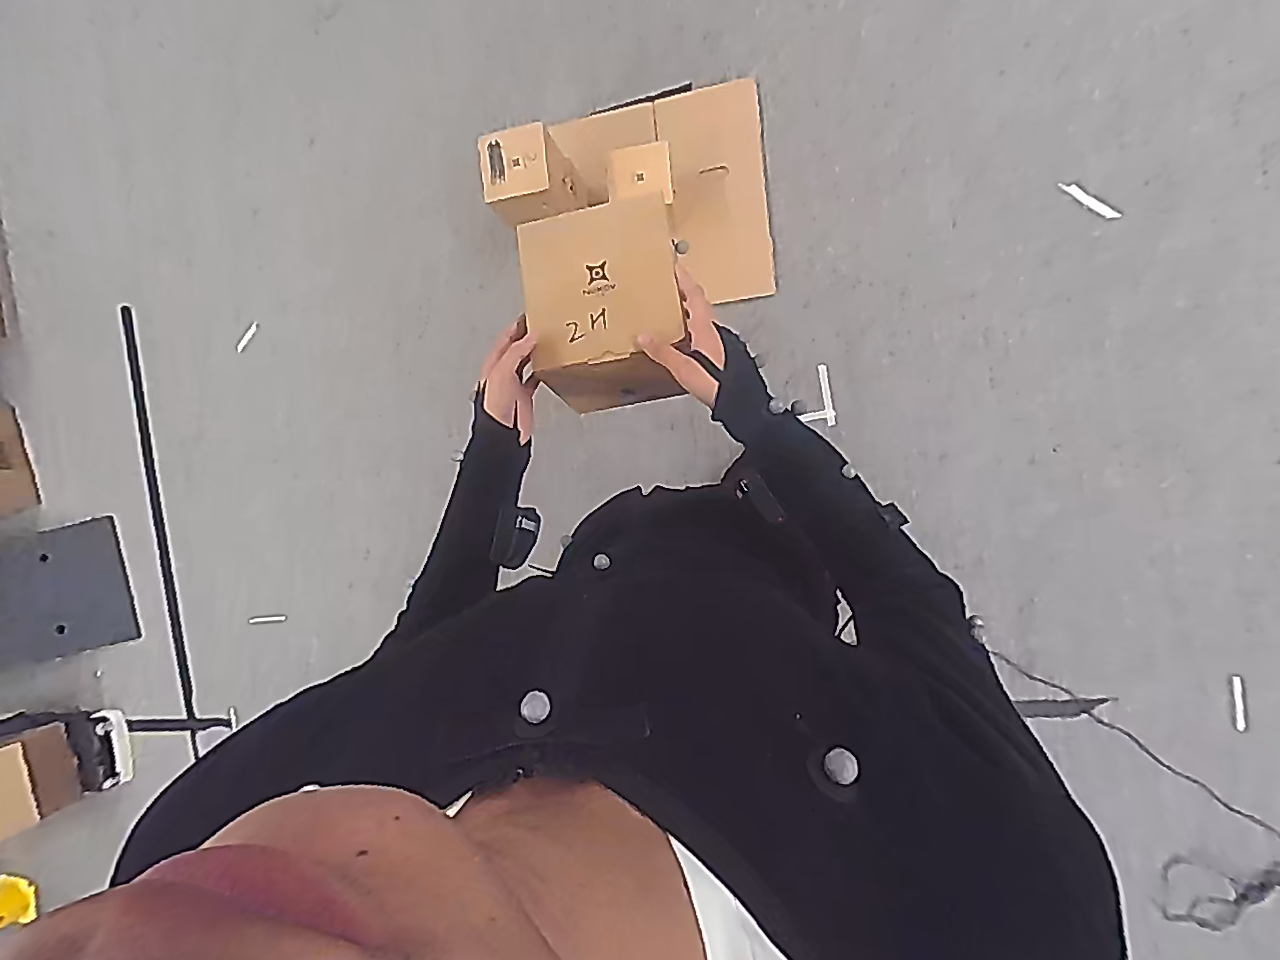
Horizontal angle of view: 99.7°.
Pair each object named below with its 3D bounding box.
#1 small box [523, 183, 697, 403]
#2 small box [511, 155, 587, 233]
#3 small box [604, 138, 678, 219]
[{"bbox_3d":[-0.027,-0.207,0.645,0.168,0.176,0.179,-9,81,9],"label":"small box"},{"bbox_3d":[-0.251,-0.798,1.562,0.179,0.176,0.168,-5,92,13],"label":"small box"},{"bbox_3d":[0.010,-0.814,1.510,0.179,0.176,0.168,-4,93,12],"label":"small box"}]
